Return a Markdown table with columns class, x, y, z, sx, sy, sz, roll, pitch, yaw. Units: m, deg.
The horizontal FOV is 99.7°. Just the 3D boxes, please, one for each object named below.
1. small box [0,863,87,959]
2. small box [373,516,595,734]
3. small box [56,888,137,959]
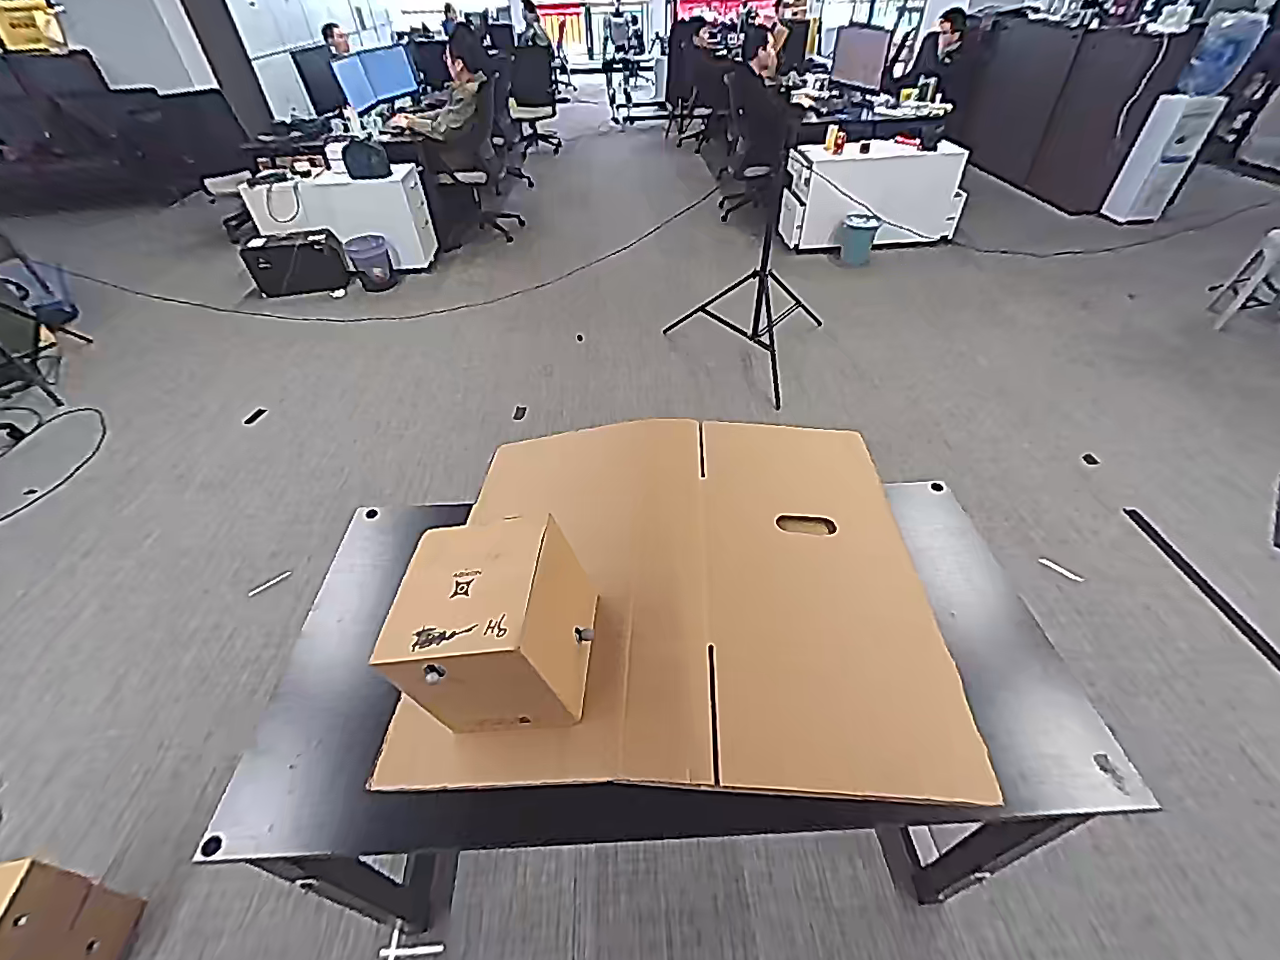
| class | x | y | z | sx | sy | sz | roll | pitch | yaw |
| --- | --- | --- | --- | --- | --- | --- | --- | --- | --- |
| small box | -1.206 | 0.848 | 1.002 | 0.168 | 0.176 | 0.179 | -7 | 42 | -6 |
| small box | -0.160 | 0.169 | 0.626 | 0.168 | 0.176 | 0.179 | -10 | 41 | 13 |
| small box | -1.199 | 0.971 | 1.109 | 0.168 | 0.176 | 0.179 | -6 | 44 | -4 |
